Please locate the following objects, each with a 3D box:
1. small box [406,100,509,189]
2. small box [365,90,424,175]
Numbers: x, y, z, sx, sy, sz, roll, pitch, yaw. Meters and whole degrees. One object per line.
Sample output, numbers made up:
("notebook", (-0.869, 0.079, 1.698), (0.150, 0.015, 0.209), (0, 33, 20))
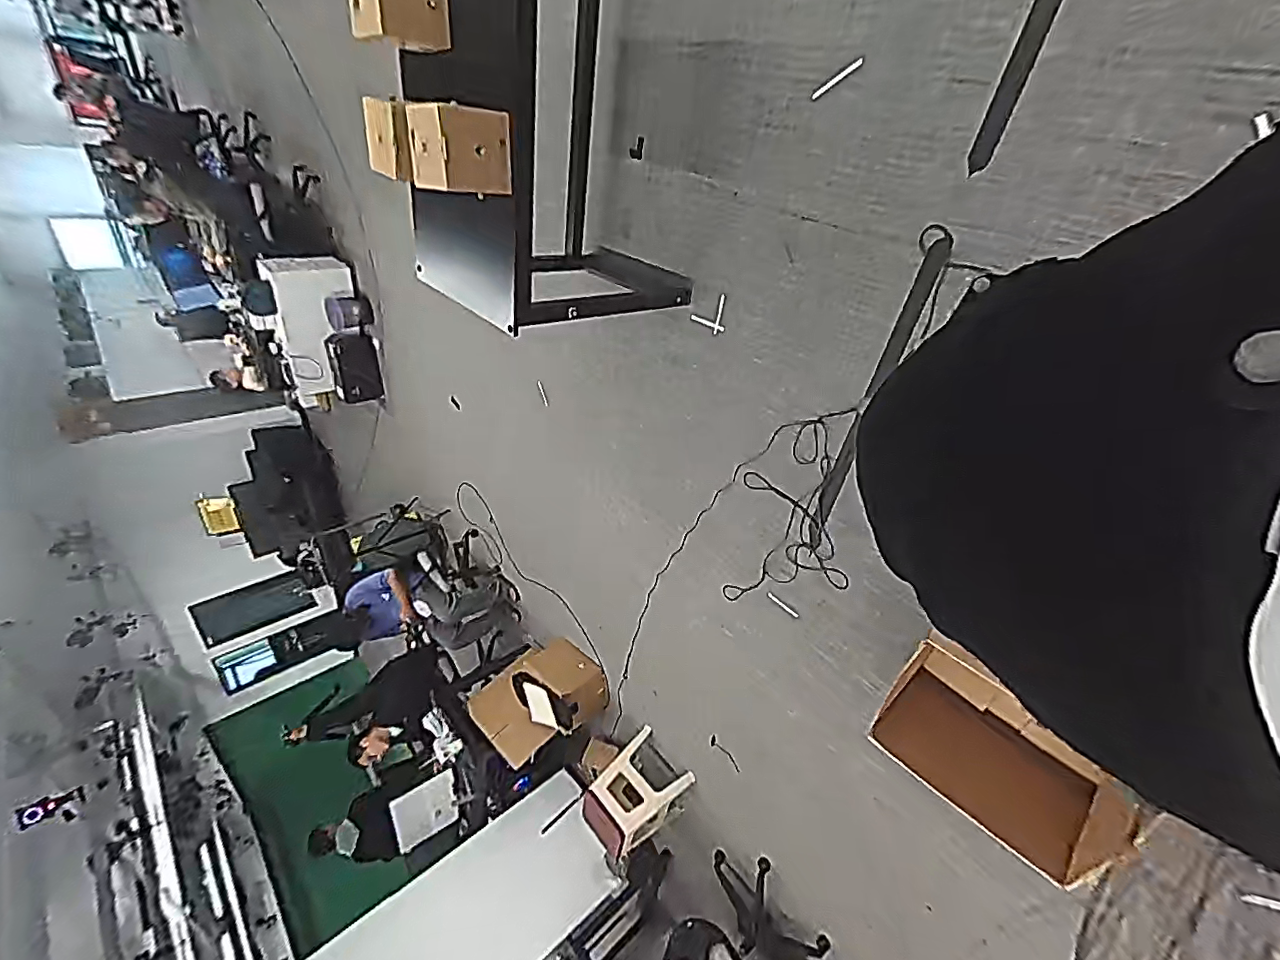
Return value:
("small box", (-0.419, -0.782, 1.266), (0.179, 0.176, 0.168), (30, 128, 38))
("small box", (-0.599, -0.907, 1.425), (0.179, 0.176, 0.168), (37, 132, 33))
